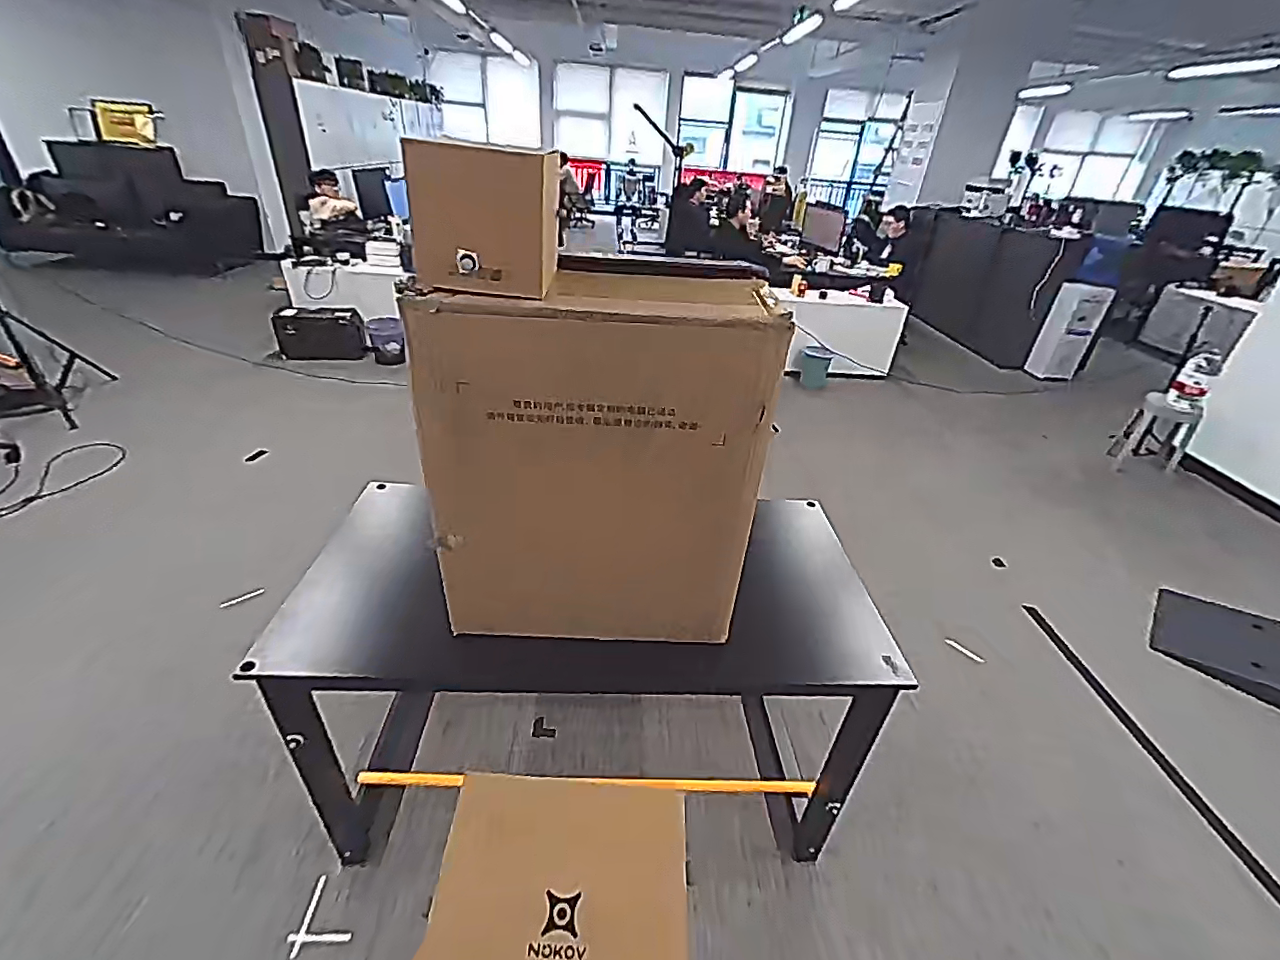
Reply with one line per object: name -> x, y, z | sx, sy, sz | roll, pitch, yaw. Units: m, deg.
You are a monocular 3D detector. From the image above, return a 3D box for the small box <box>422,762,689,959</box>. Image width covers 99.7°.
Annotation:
small box -> -0.058, 0.337, 0.401 | 0.168, 0.176, 0.179 | 6, 44, -2

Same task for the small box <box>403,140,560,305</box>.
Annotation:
small box -> -0.200, -0.350, 0.731 | 0.168, 0.176, 0.179 | 3, 33, -5
